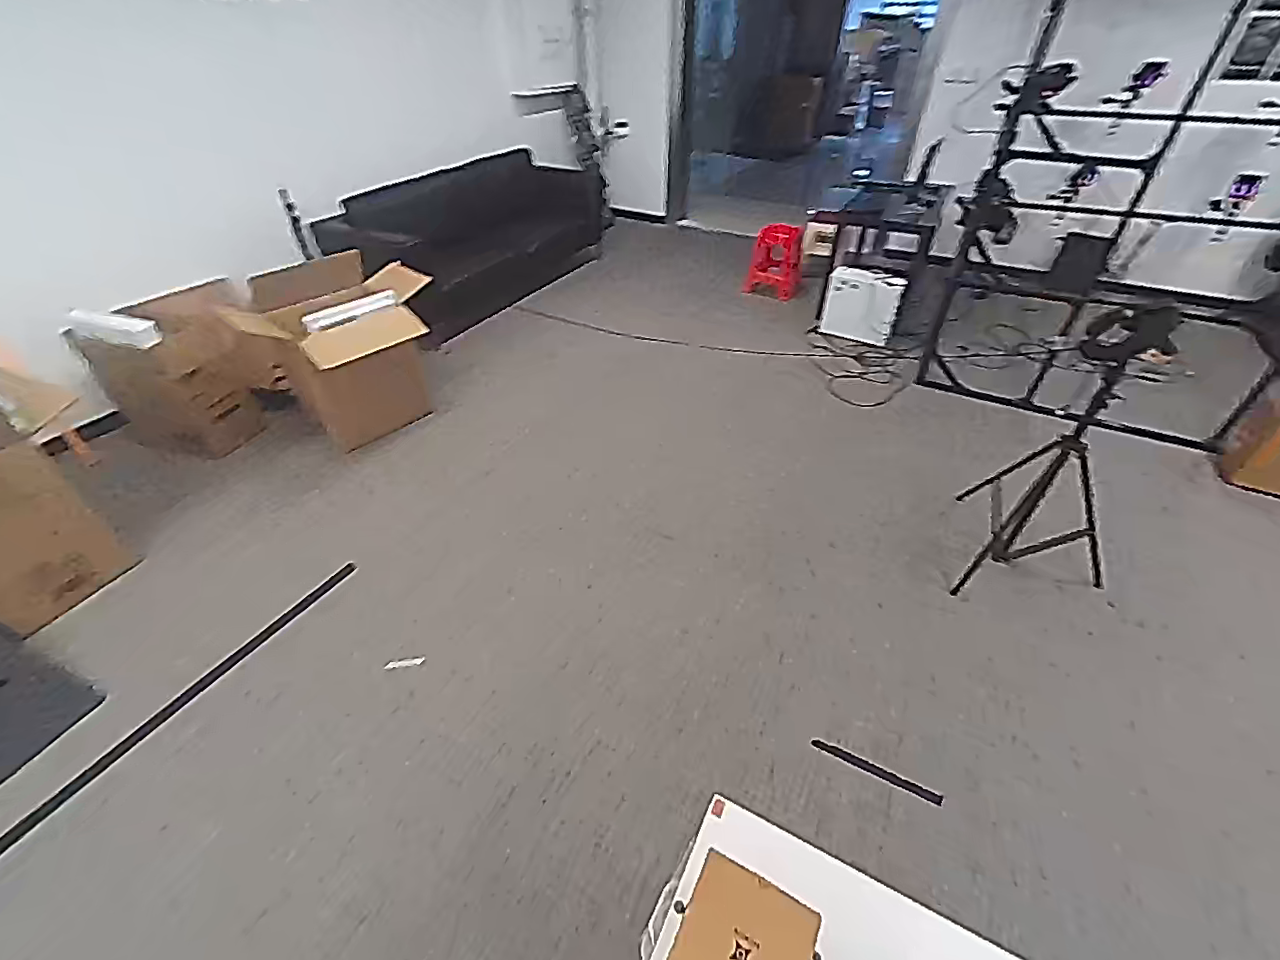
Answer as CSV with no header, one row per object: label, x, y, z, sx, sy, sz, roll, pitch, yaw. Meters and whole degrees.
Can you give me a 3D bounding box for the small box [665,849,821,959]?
small box,0.132,0.670,0.749,0.168,0.176,0.179,20,44,21
